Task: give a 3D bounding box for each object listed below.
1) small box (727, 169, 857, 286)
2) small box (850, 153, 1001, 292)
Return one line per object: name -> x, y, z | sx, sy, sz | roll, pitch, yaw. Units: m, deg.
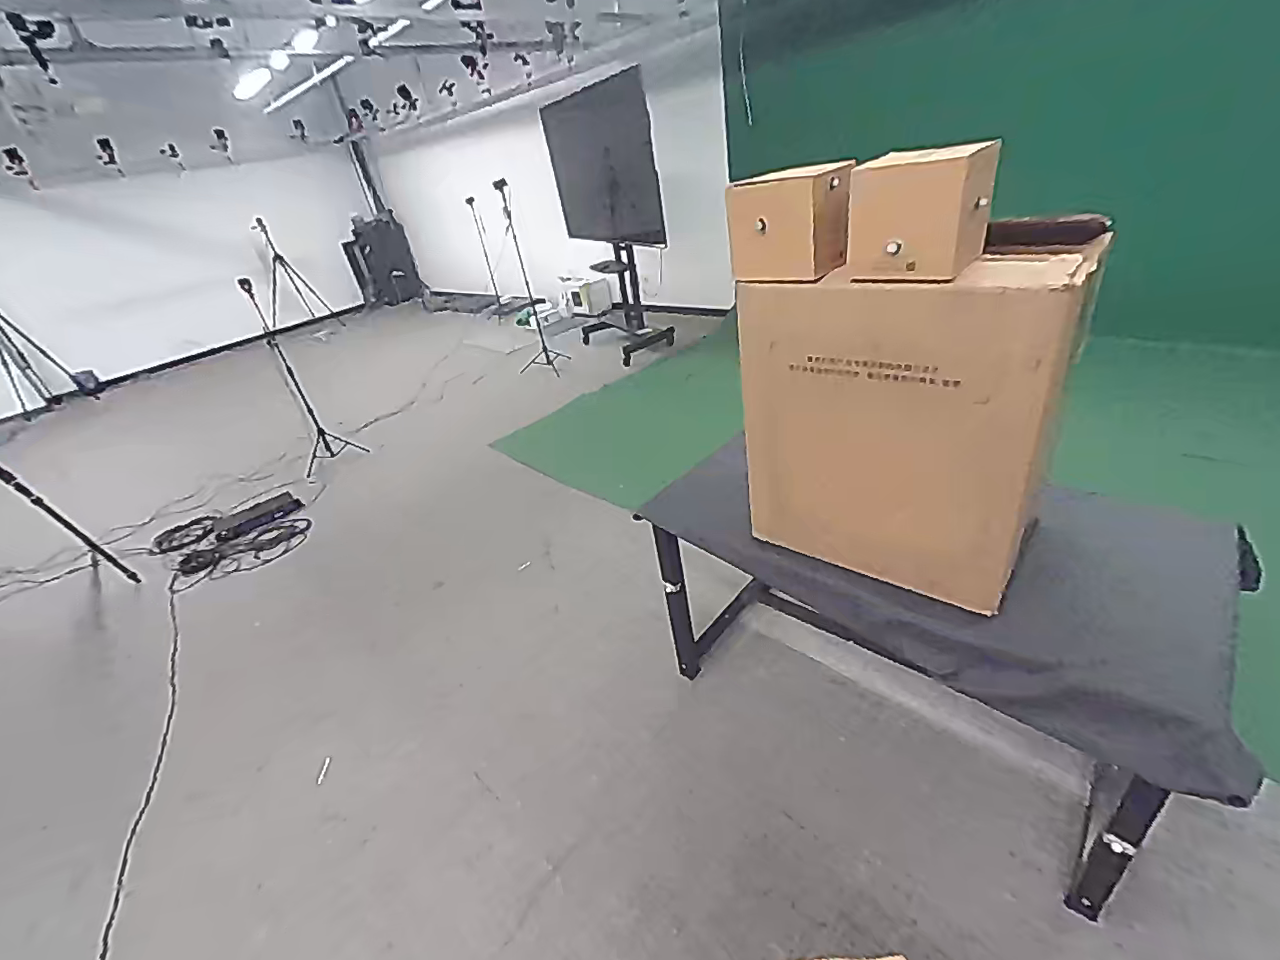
small box -> 0.285, -0.467, 1.010 | 0.179, 0.176, 0.168 | 18, 41, 39
small box -> 0.455, -0.418, 0.879 | 0.168, 0.176, 0.179 | 19, 43, 38
